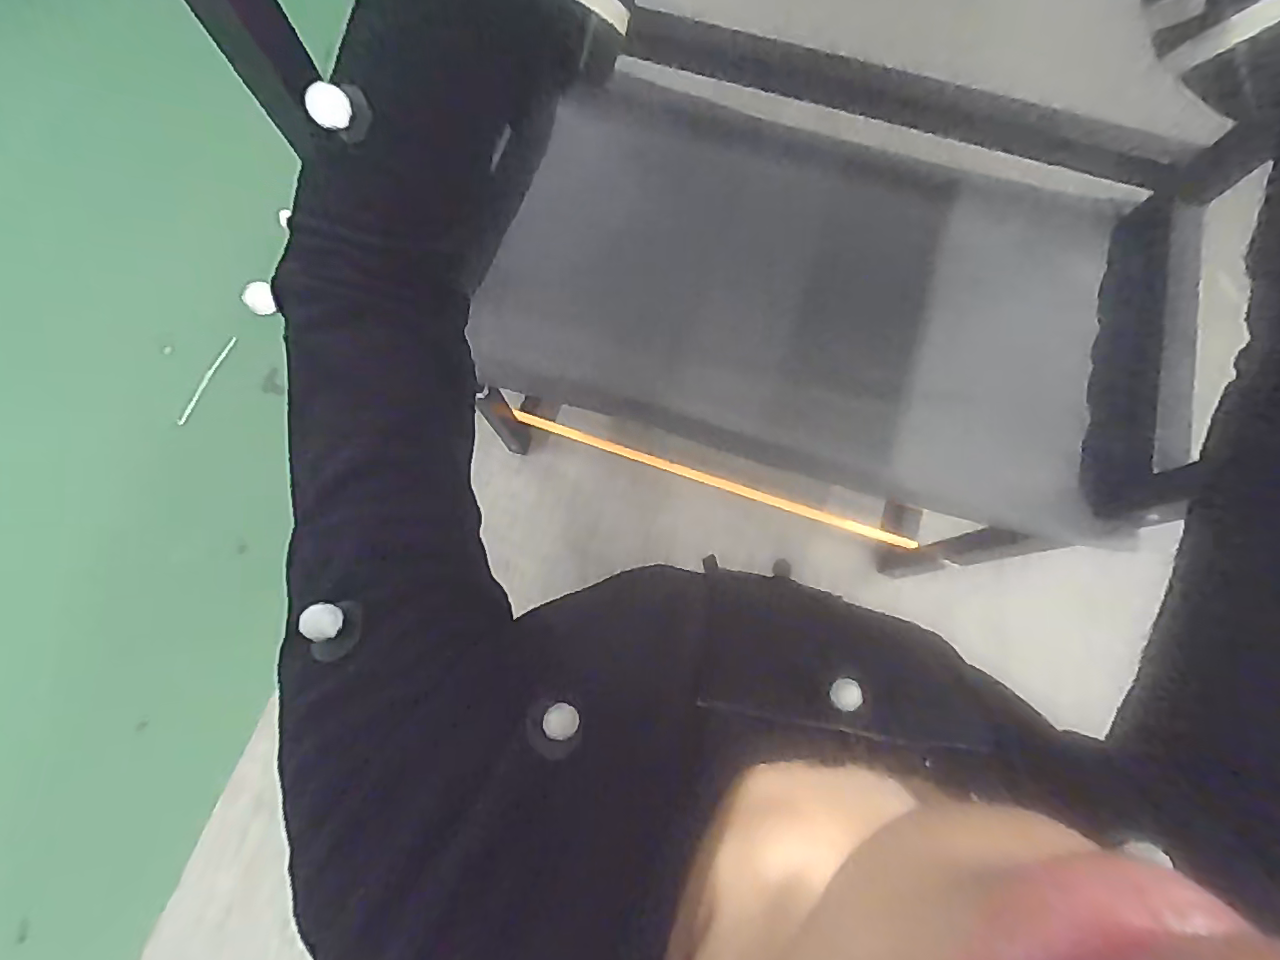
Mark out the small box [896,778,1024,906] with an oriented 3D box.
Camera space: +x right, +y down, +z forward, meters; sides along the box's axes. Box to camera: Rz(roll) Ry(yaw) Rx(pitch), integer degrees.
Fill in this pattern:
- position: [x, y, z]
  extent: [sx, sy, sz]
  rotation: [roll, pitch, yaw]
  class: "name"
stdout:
- position: [0.740, 0.830, 1.263]
  extent: [0.179, 0.176, 0.168]
  rotation: [24, 76, 8]
  class: "small box"
